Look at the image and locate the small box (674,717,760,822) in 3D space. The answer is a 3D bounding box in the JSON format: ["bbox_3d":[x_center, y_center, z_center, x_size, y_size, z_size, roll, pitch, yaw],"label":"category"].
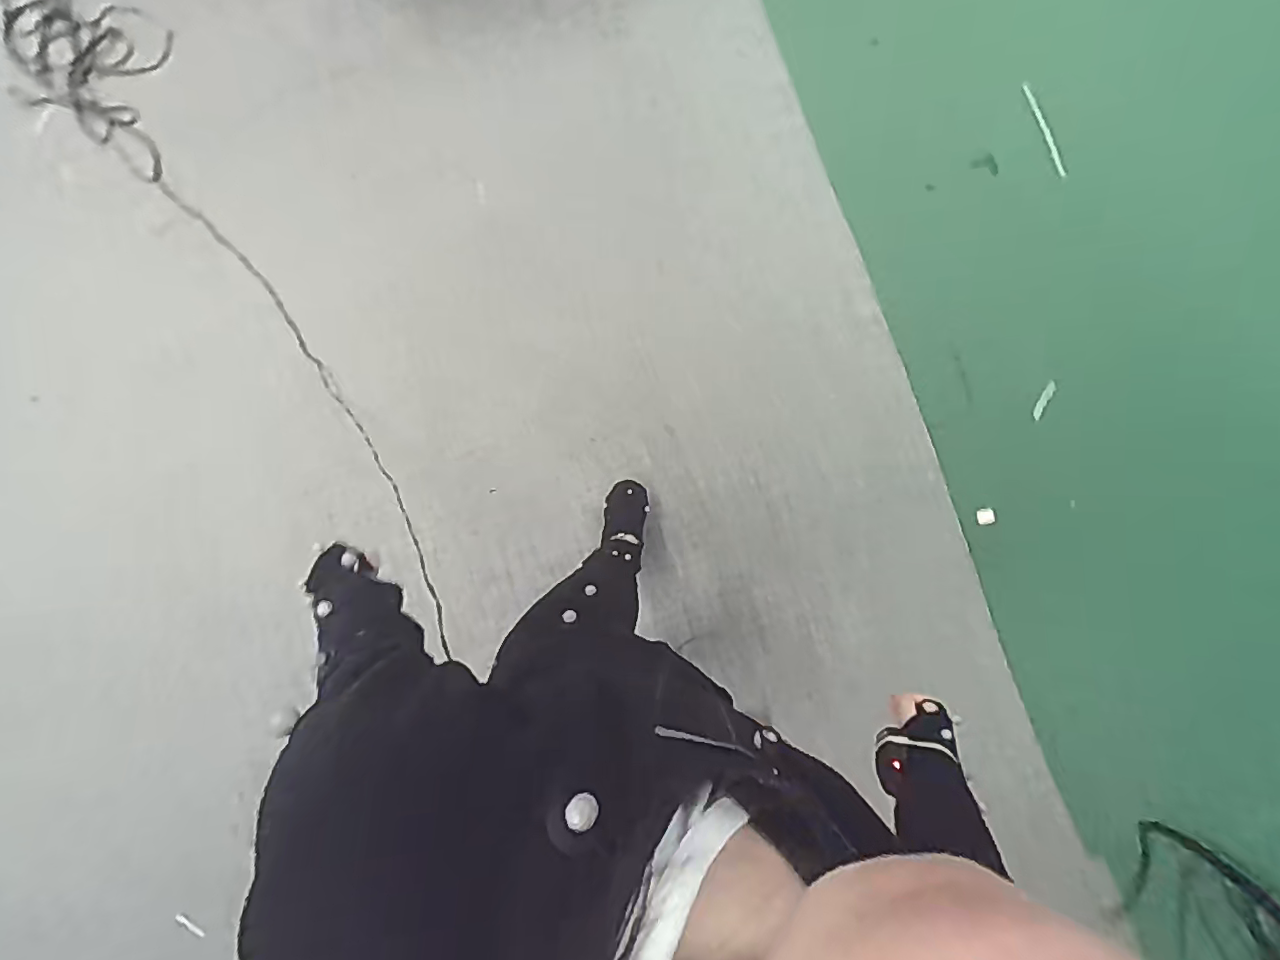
[{"bbox_3d":[0.185,0.717,1.353,0.179,0.176,0.168,-12,84,-1],"label":"small box"}]
